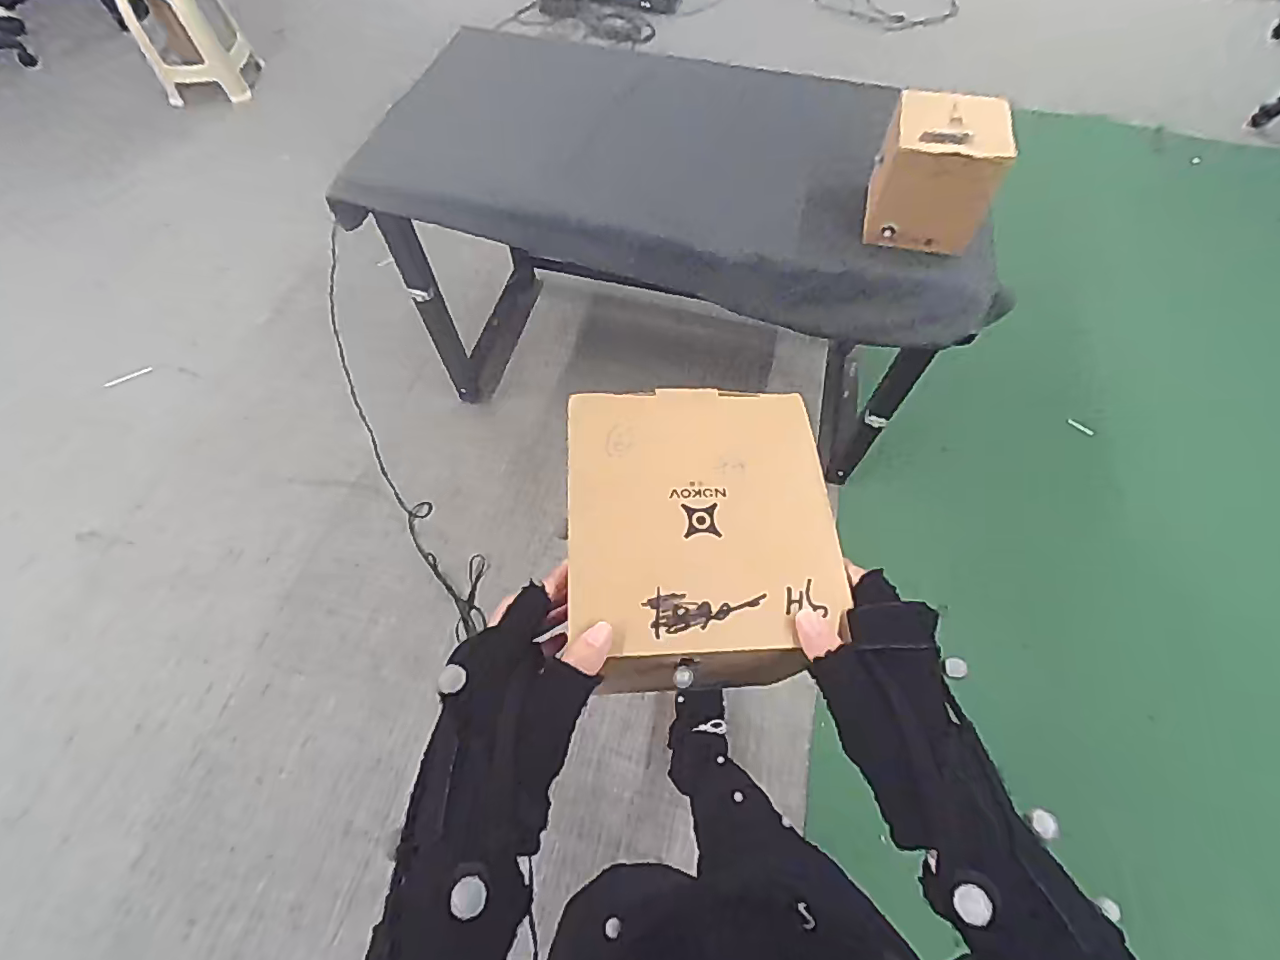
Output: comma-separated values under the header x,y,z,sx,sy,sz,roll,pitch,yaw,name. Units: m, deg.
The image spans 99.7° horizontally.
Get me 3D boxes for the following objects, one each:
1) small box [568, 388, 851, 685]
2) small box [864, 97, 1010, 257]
x,y,z,sx,sy,sz,roll,pitch,yaw,name
0.031,0.050,0.414,0.168,0.176,0.179,-1,62,-5,small box
0.491,-0.507,0.914,0.168,0.176,0.179,13,61,9,small box
